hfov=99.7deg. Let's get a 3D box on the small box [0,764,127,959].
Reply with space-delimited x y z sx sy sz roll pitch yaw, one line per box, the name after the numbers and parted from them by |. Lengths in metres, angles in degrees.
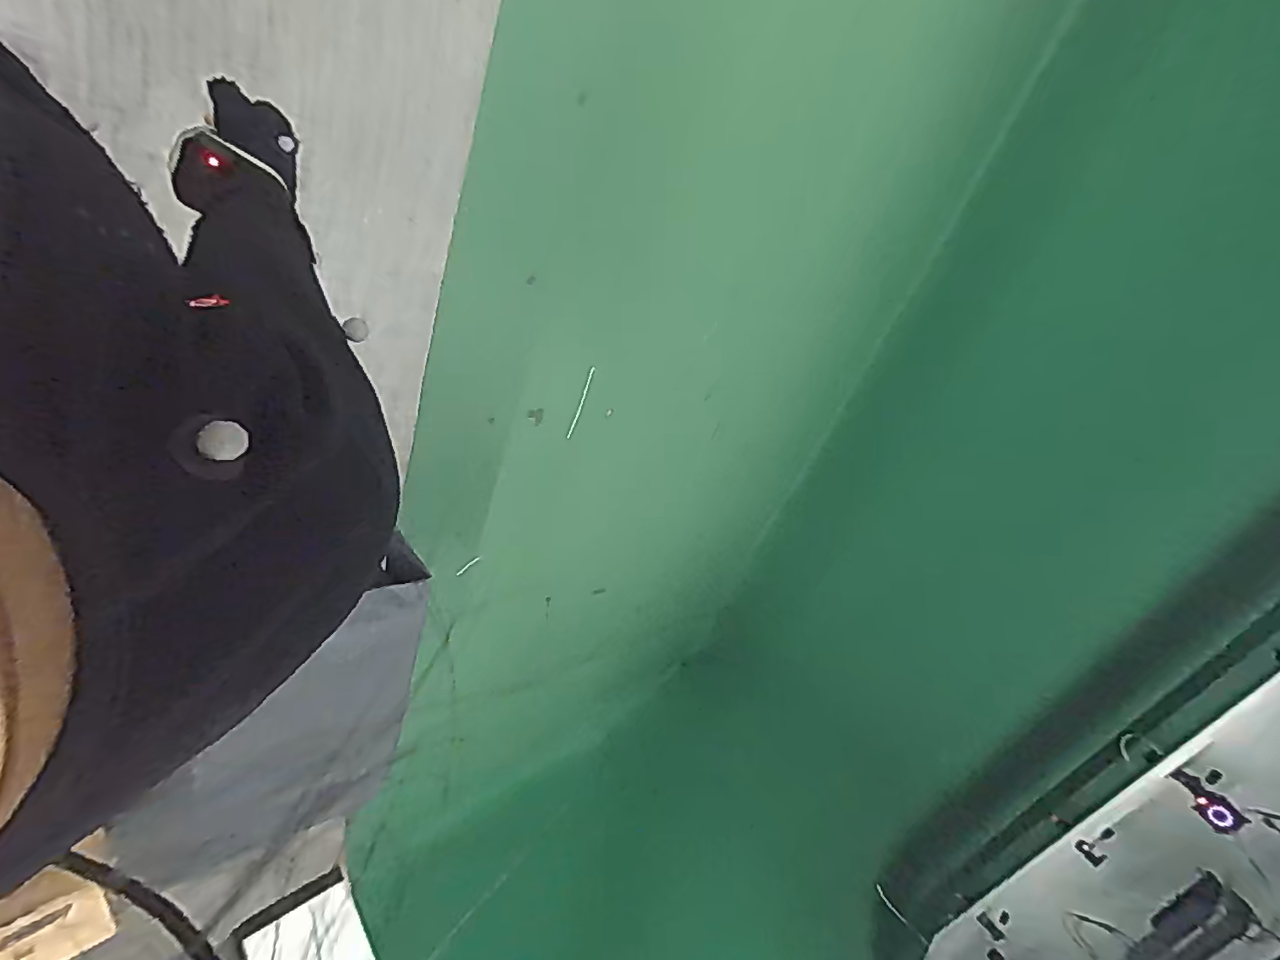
-0.873 0.548 0.780 0.168 0.176 0.179 -11 134 -44 | small box
